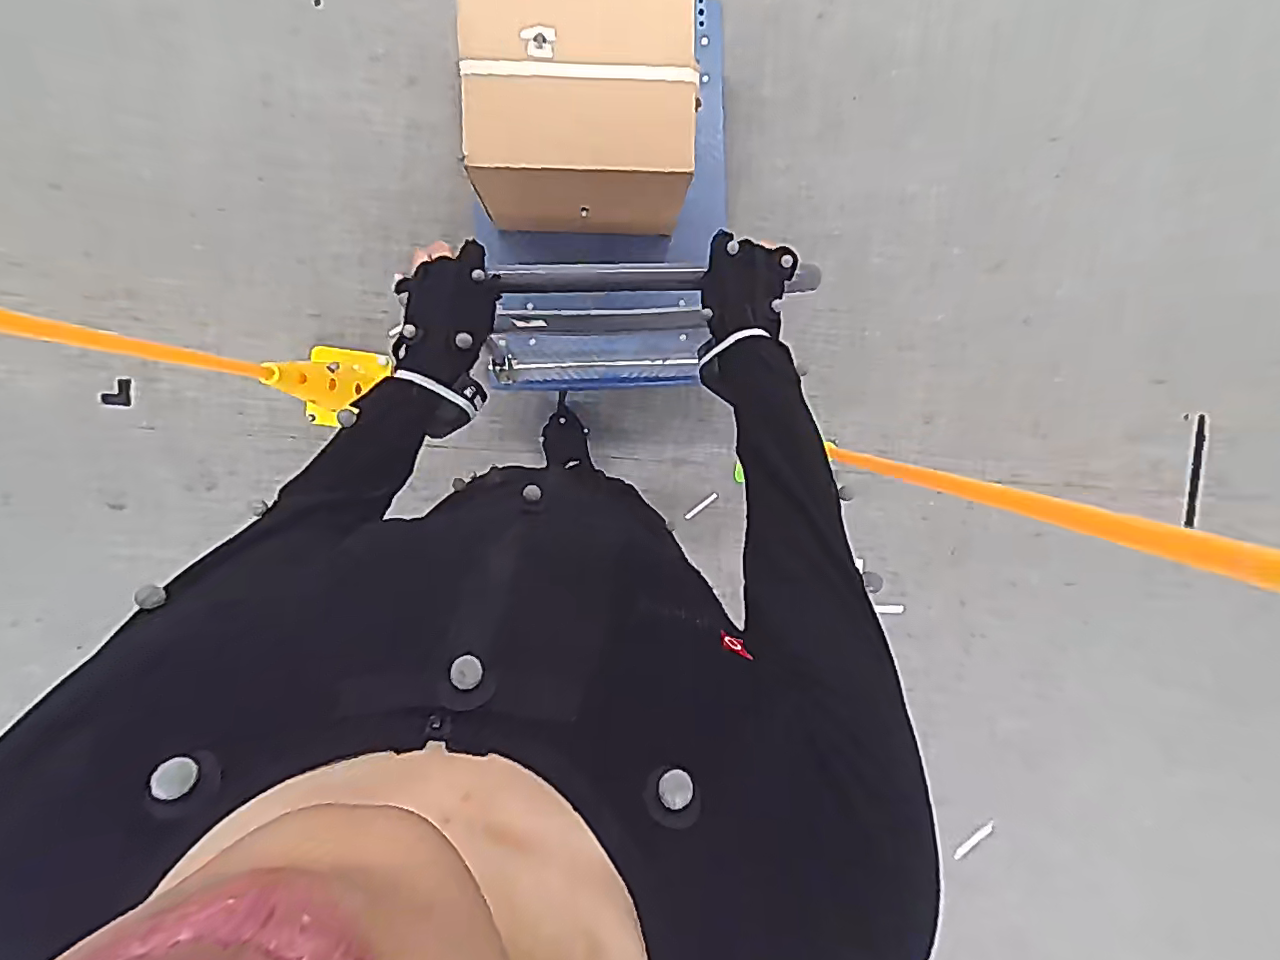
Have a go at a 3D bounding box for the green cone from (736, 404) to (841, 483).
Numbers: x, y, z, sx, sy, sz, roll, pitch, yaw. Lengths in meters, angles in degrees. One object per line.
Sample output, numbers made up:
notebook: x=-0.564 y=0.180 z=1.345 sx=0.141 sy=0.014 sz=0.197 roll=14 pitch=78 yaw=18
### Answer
green cone: x=0.385 y=-0.085 z=1.317 sx=0.202 sy=0.368 sz=0.200 roll=8 pitch=94 yaw=-6

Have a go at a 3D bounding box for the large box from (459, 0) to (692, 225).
large box: x=-0.114 y=-0.722 z=1.086 sx=0.408 sy=0.320 sz=0.320 roll=0 pitch=96 yaw=-3
